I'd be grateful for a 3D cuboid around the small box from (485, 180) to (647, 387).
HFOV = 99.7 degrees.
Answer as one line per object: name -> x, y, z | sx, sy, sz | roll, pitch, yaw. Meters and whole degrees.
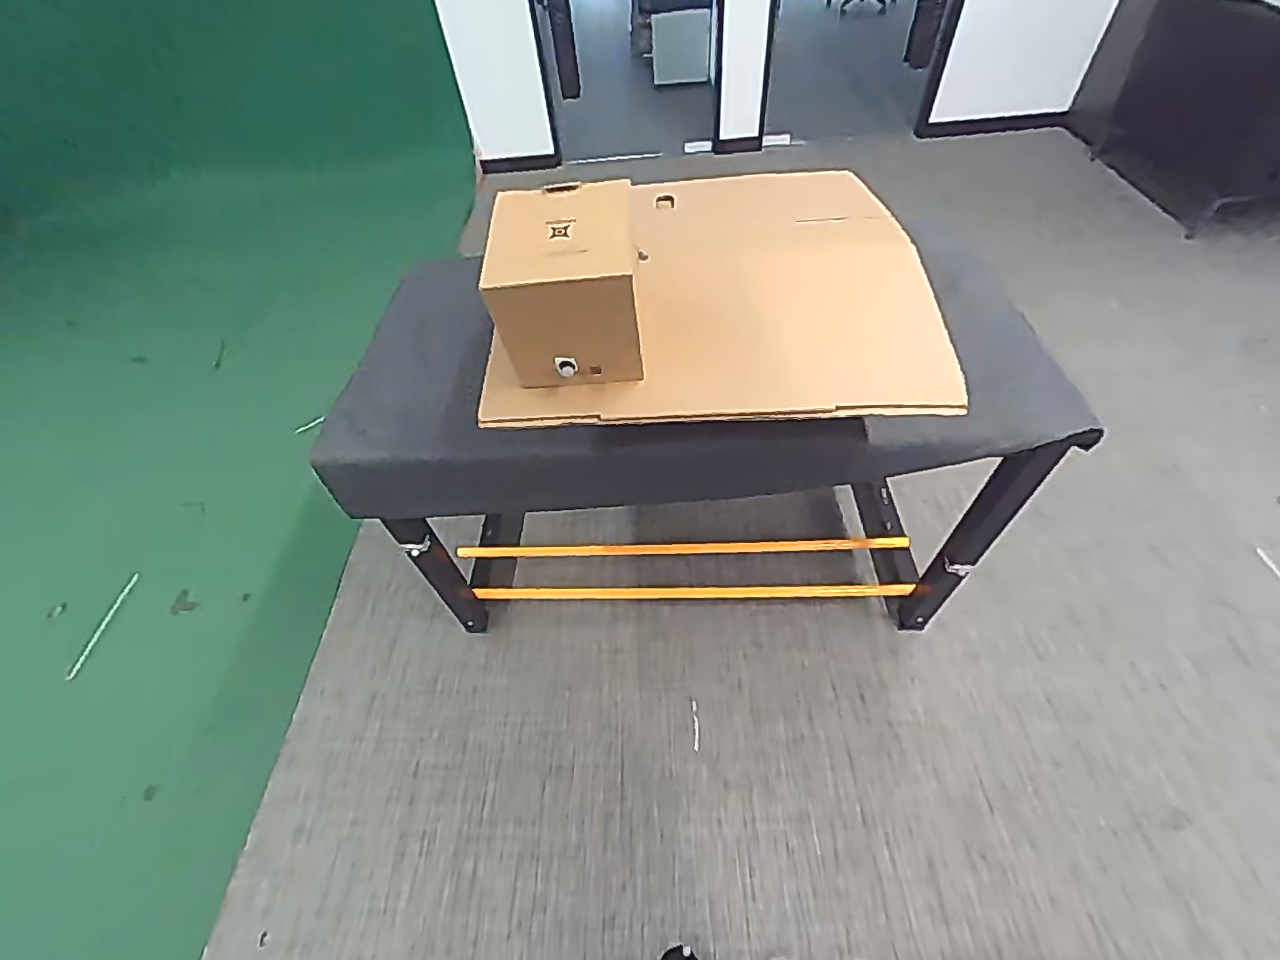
small box -> -0.080, -0.241, 0.680 | 0.168, 0.176, 0.179 | -5, 60, 4
